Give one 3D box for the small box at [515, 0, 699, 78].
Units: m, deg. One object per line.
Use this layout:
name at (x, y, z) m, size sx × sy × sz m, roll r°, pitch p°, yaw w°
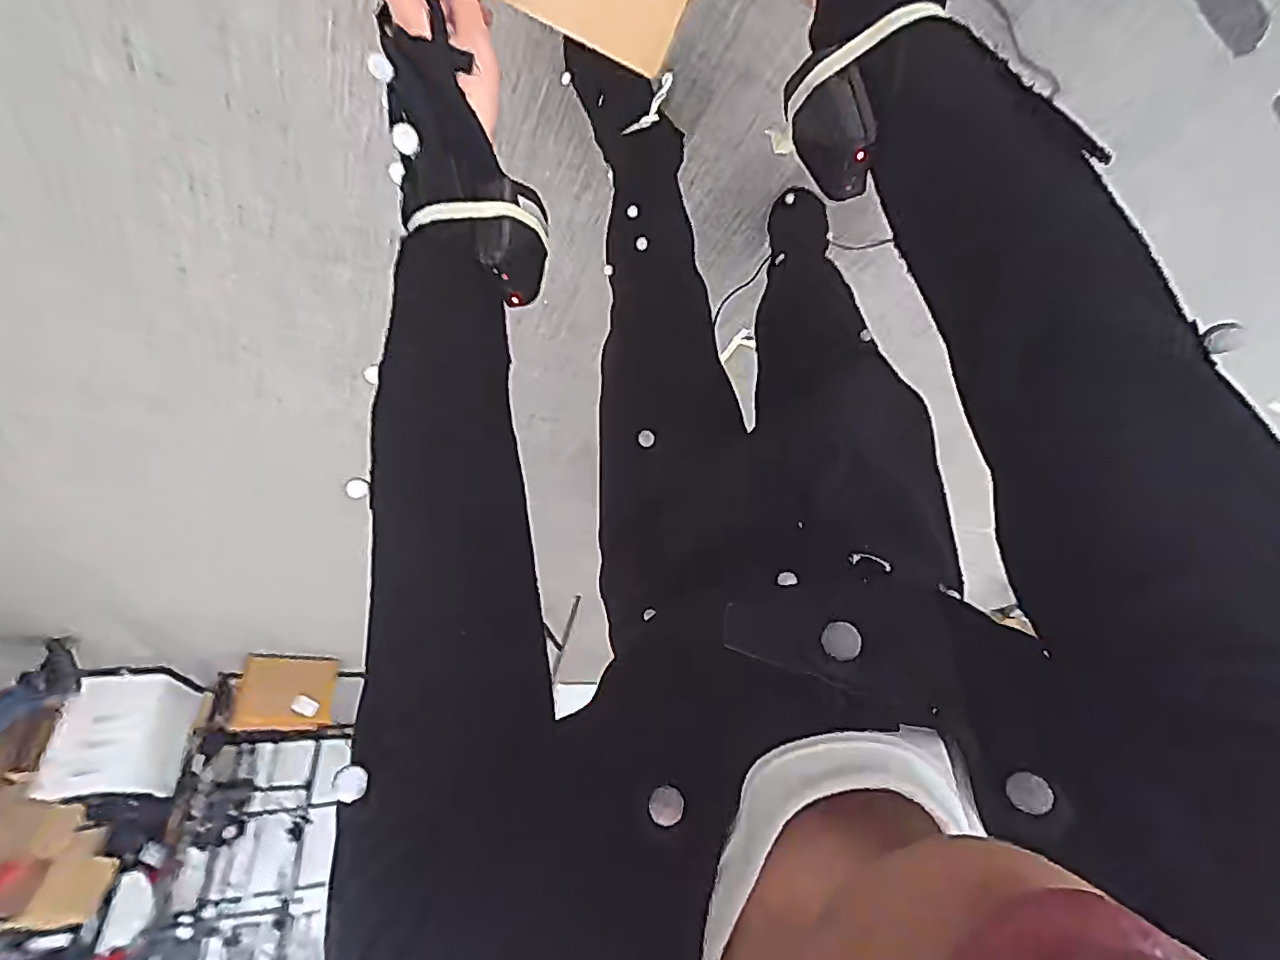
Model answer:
small box at (-0.033, -0.416, 0.343) m, size 0.179 × 0.176 × 0.168 m, roll 9°, pitch 146°, yaw -27°
